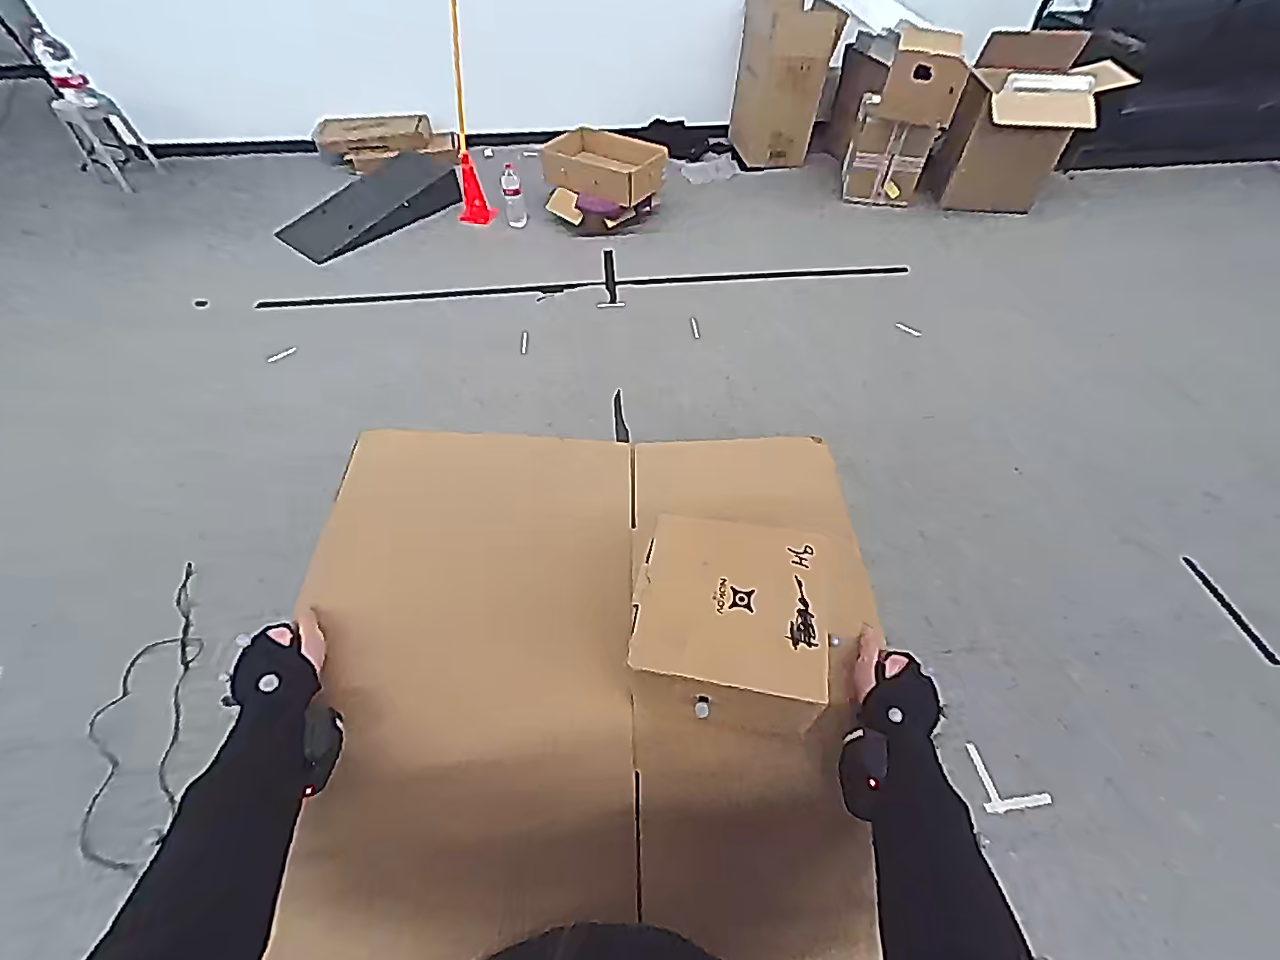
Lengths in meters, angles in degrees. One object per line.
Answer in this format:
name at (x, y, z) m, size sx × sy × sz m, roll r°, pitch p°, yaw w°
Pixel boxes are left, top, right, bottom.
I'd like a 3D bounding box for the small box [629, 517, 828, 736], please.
small box at (0.097, 0.161, 0.581) m, size 0.179 × 0.176 × 0.168 m, roll 6°, pitch 55°, yaw 11°
